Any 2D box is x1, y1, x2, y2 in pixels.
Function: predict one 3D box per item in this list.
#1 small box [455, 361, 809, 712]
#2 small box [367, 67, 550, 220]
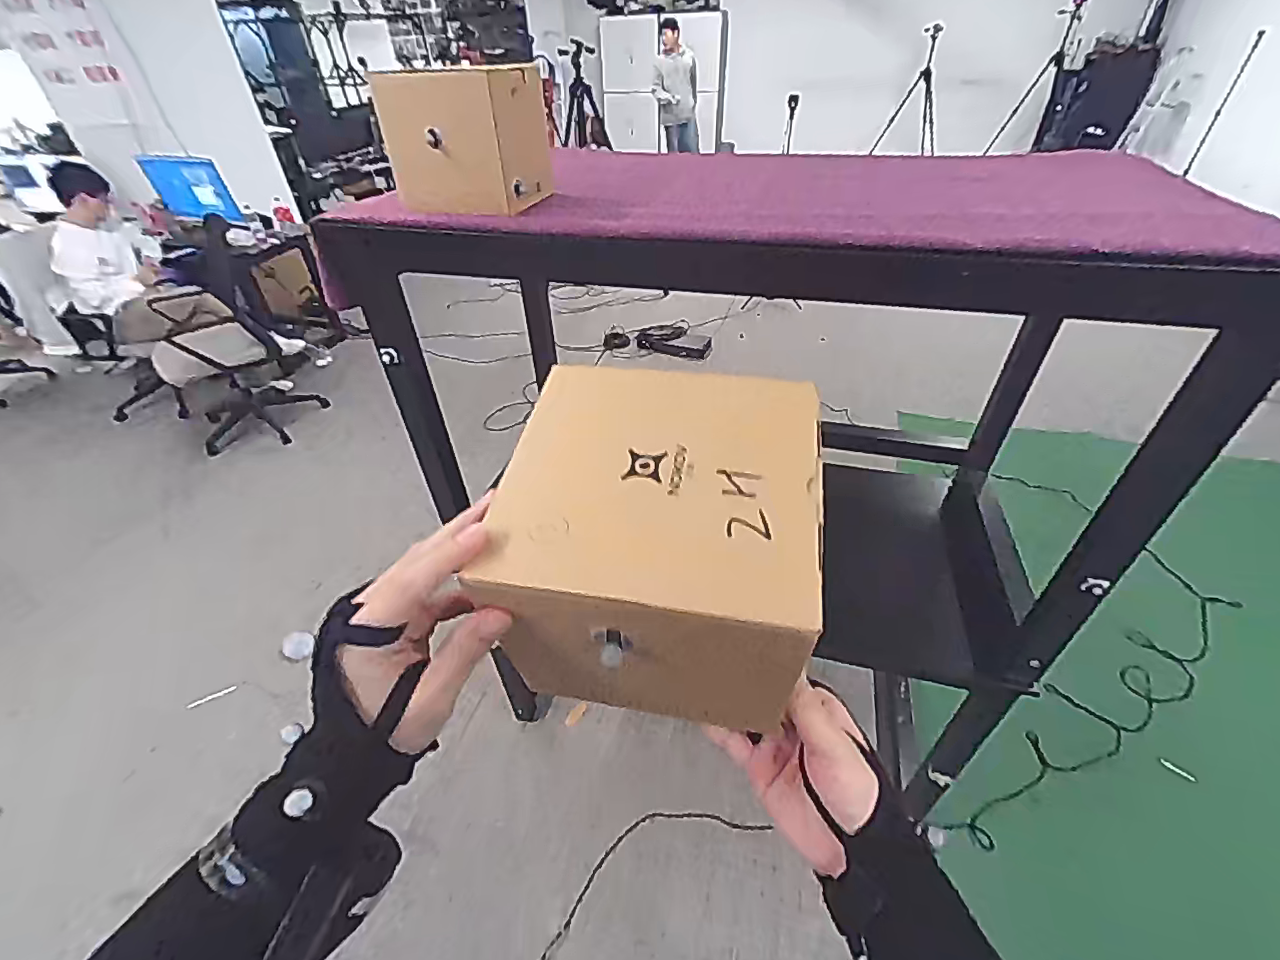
[{"bbox_3d":[0.012,0.040,0.367,0.179,0.176,0.168,6,53,11],"label":"small box"},{"bbox_3d":[-0.246,-0.487,0.787,0.179,0.176,0.168,7,40,14],"label":"small box"}]
